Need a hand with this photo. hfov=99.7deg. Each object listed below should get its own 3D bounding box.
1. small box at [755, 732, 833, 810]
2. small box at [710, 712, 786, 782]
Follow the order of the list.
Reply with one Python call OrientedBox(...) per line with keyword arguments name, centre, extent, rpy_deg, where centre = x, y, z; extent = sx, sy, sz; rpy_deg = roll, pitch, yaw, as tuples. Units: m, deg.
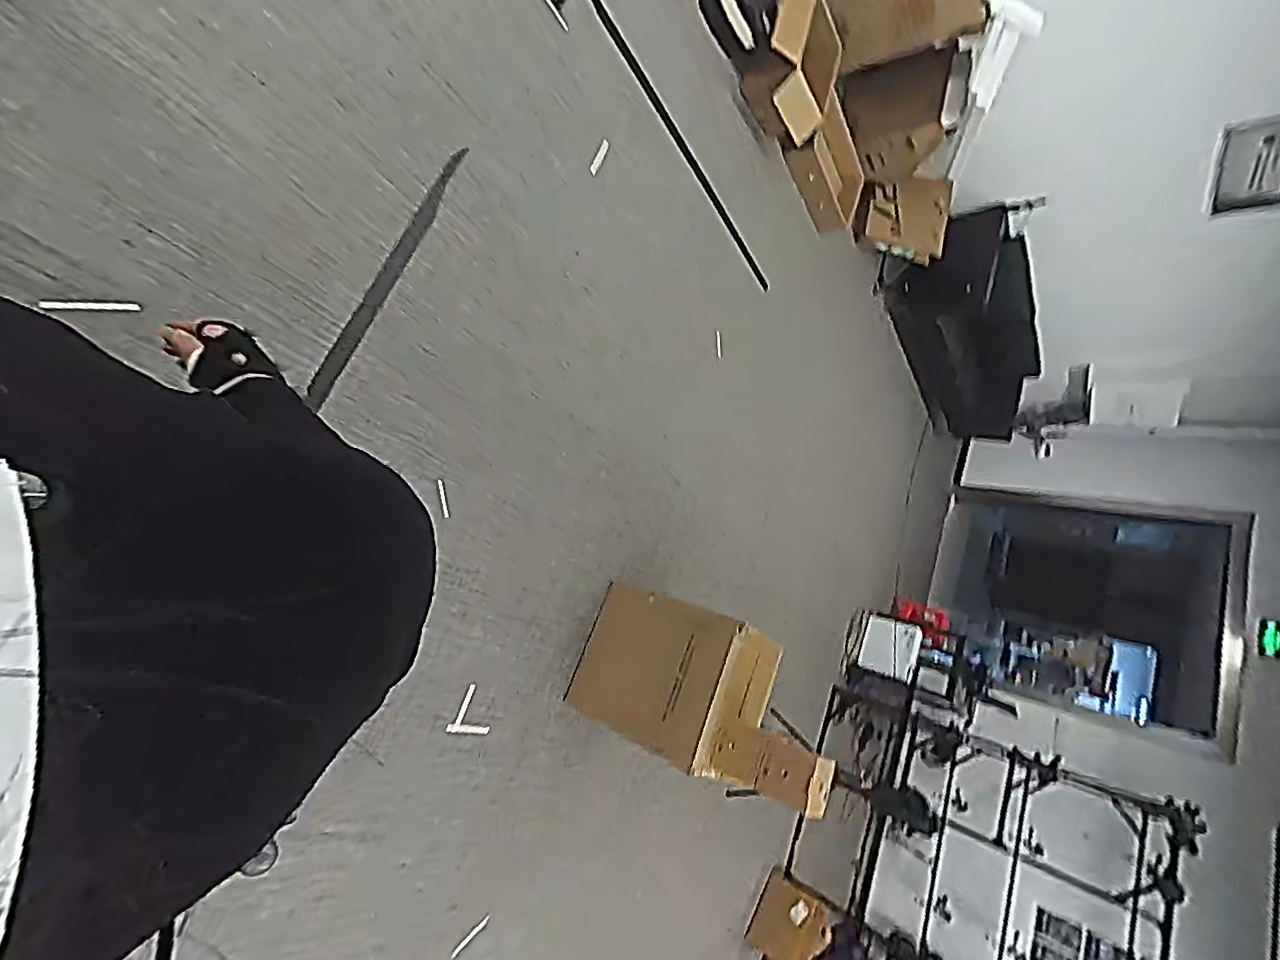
OrientedBox(name="small box", centre=(0.487, 0.922, 1.719), extent=(0.179, 0.176, 0.168), rpy_deg=(39, 66, -44))
OrientedBox(name="small box", centre=(0.363, 0.903, 1.826), extent=(0.179, 0.176, 0.168), rpy_deg=(37, 67, -44))
